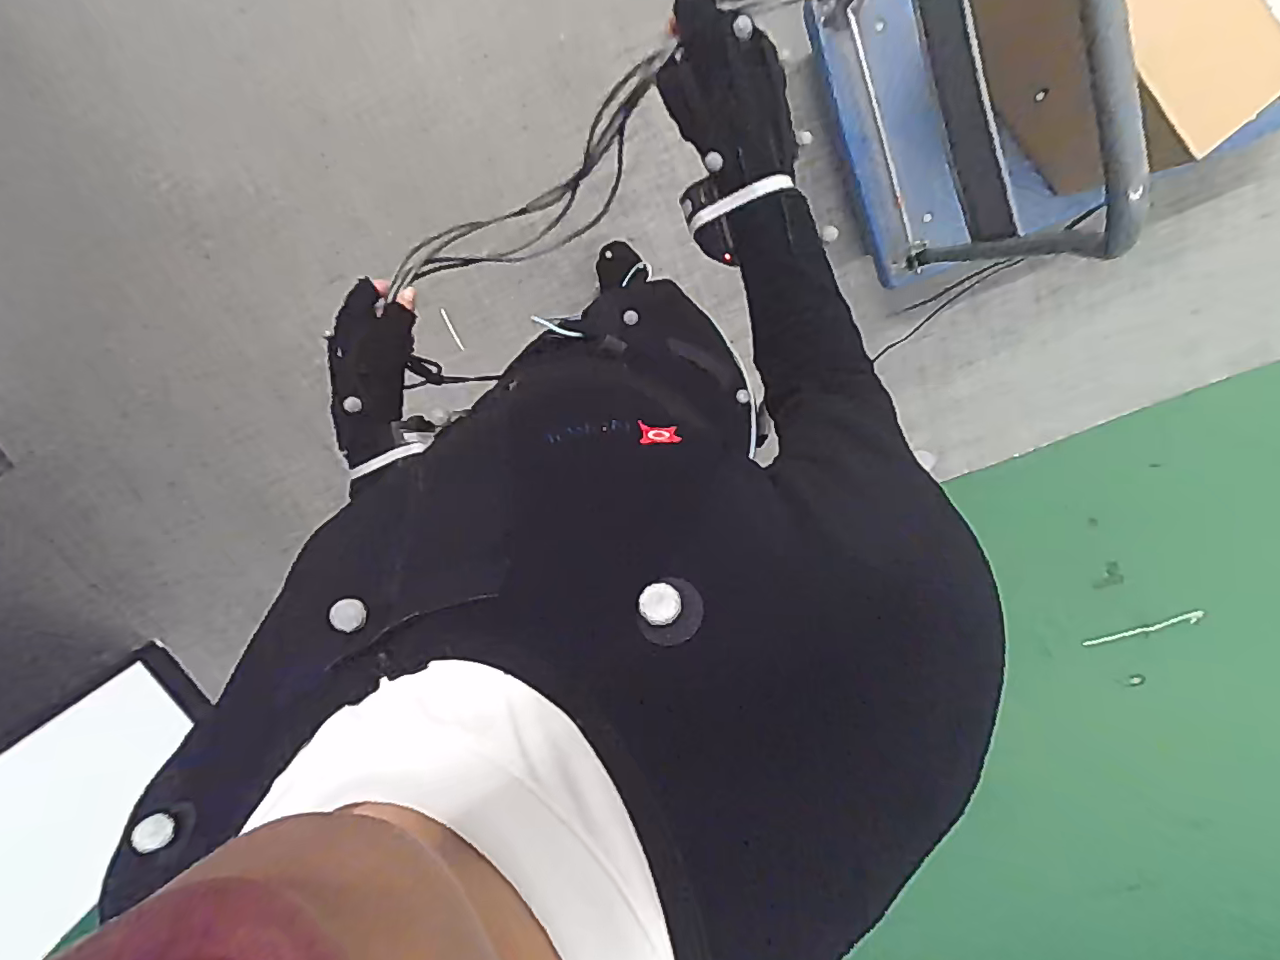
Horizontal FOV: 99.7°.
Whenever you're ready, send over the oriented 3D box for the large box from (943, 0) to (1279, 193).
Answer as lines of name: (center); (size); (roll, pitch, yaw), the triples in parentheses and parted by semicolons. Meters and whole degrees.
large box: (0.791, -0.748, 0.859); (0.408, 0.320, 0.320); (44, 106, -10)
